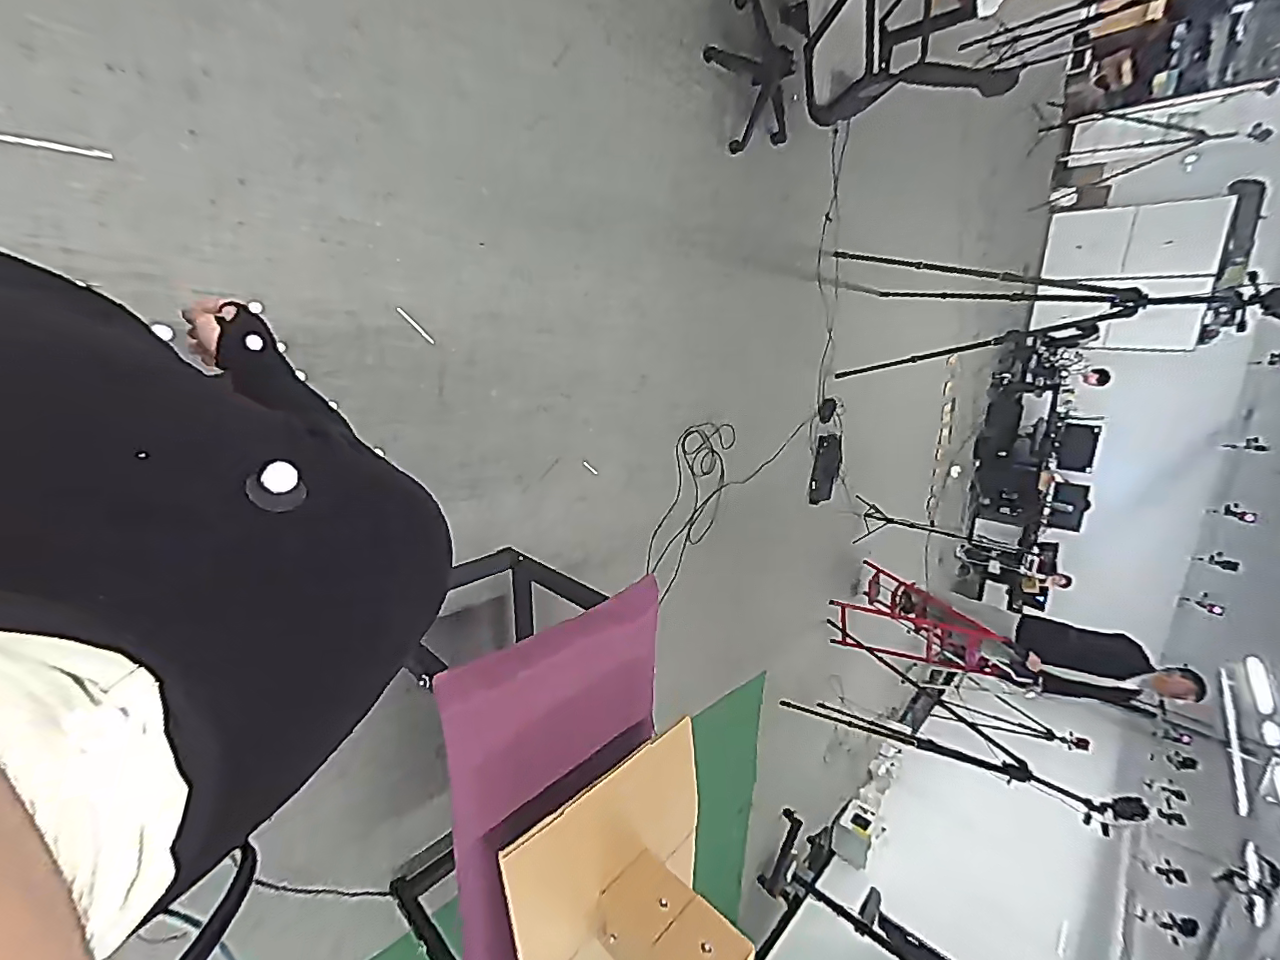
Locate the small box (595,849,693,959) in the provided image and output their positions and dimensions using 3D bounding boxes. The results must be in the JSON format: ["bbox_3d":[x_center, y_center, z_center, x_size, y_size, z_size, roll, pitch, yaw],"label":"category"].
[{"bbox_3d":[0.010,1.082,1.351,0.179,0.176,0.168,-15,114,-44],"label":"small box"}]
